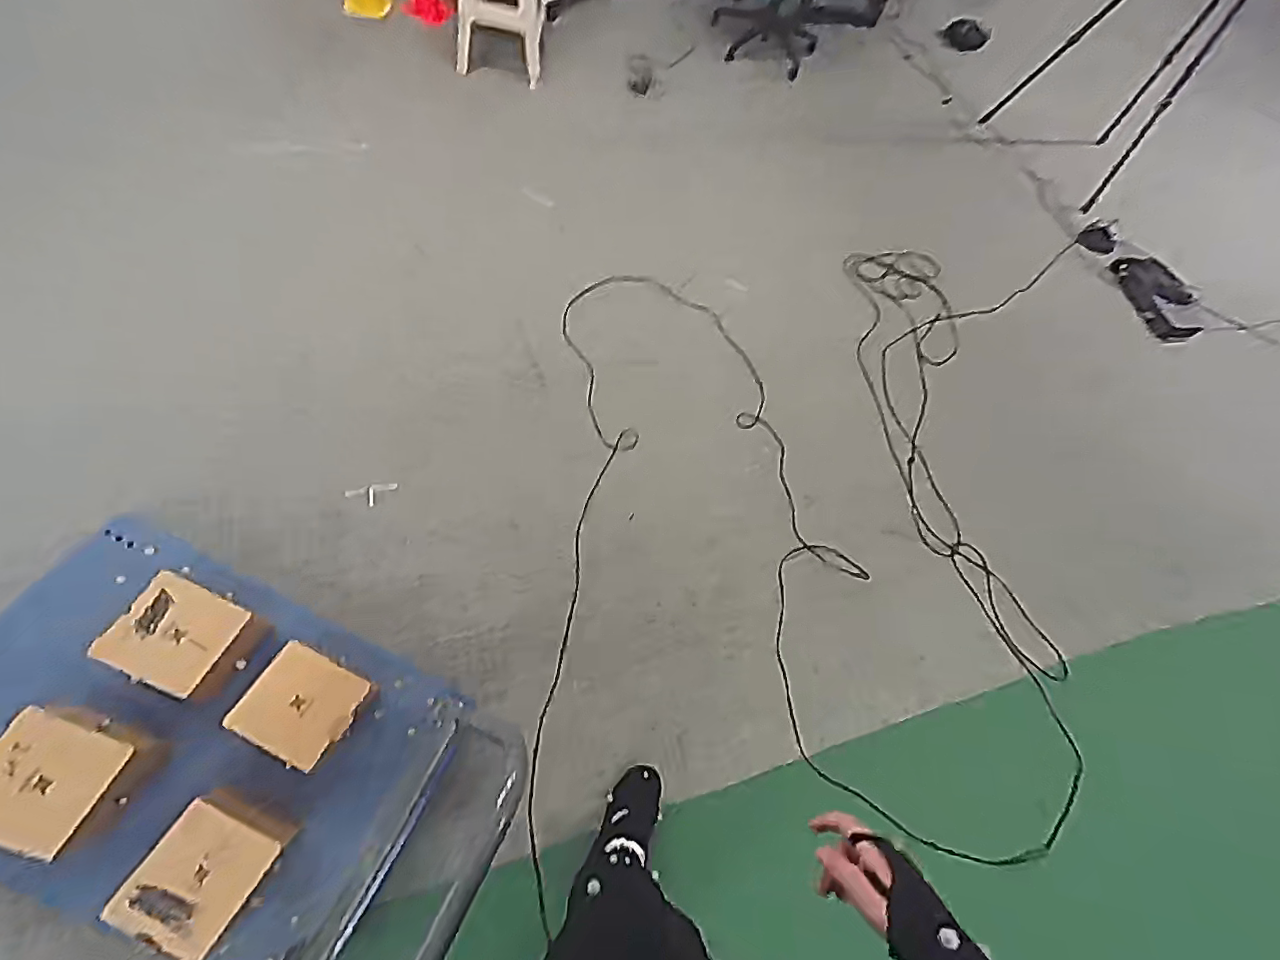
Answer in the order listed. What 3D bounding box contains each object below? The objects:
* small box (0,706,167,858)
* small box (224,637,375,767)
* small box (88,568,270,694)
[{"bbox_3d":[-0.959,0.491,0.904,0.179,0.176,0.168,29,61,-9],"label":"small box"},{"bbox_3d":[-0.648,0.432,1.056,0.179,0.176,0.168,34,61,-7],"label":"small box"},{"bbox_3d":[-0.854,0.294,1.027,0.179,0.176,0.168,31,62,-8],"label":"small box"}]
